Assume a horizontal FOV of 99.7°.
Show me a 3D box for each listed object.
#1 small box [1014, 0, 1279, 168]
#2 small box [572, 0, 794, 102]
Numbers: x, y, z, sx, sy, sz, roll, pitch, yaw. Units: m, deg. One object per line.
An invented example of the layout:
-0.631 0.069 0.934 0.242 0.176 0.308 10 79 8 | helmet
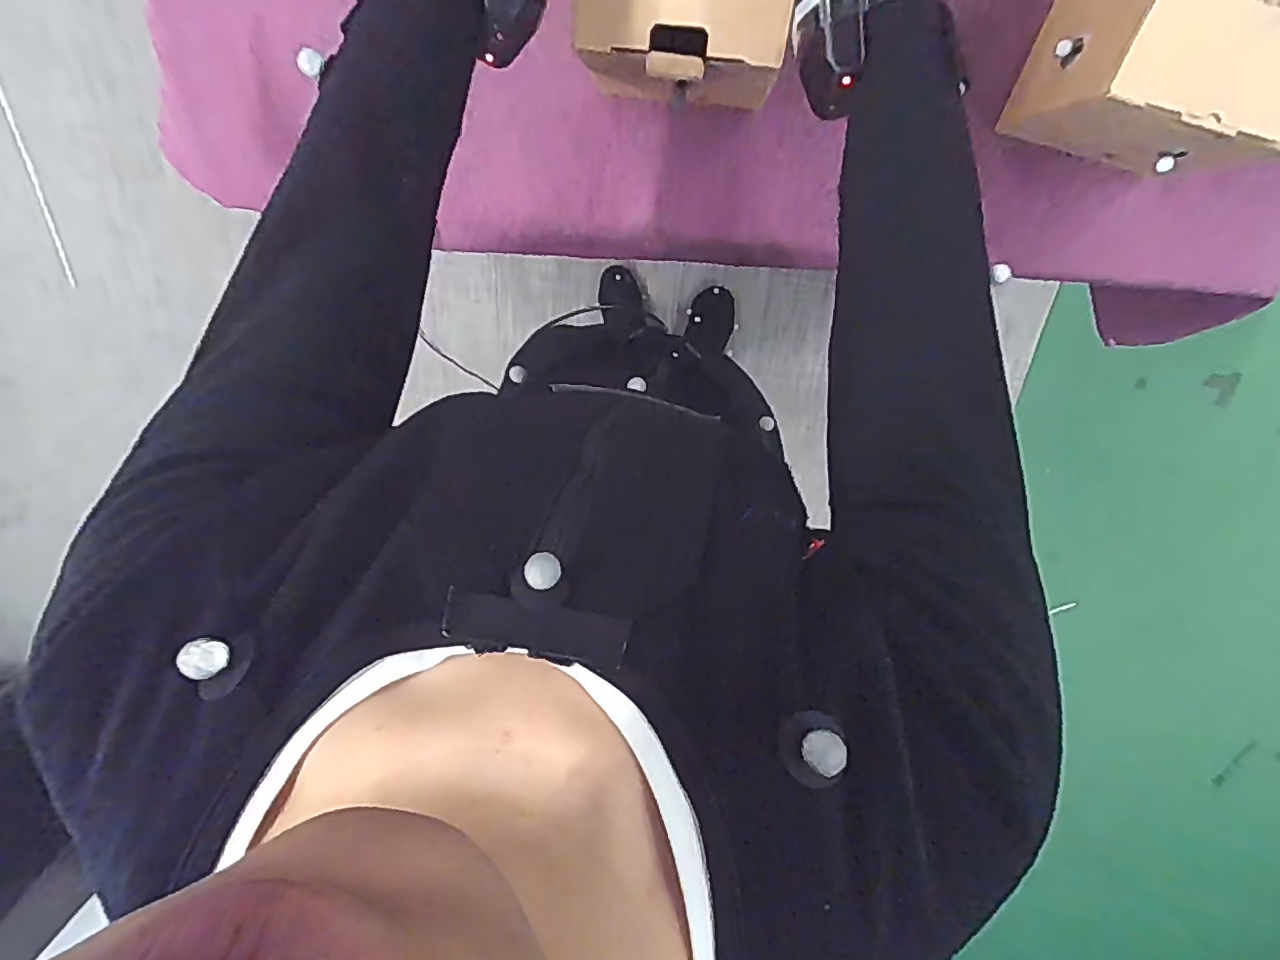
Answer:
0.446 -0.369 0.430 0.168 0.176 0.179 16 116 -2 | small box
0.045 -0.432 0.444 0.168 0.176 0.179 8 117 2 | small box
